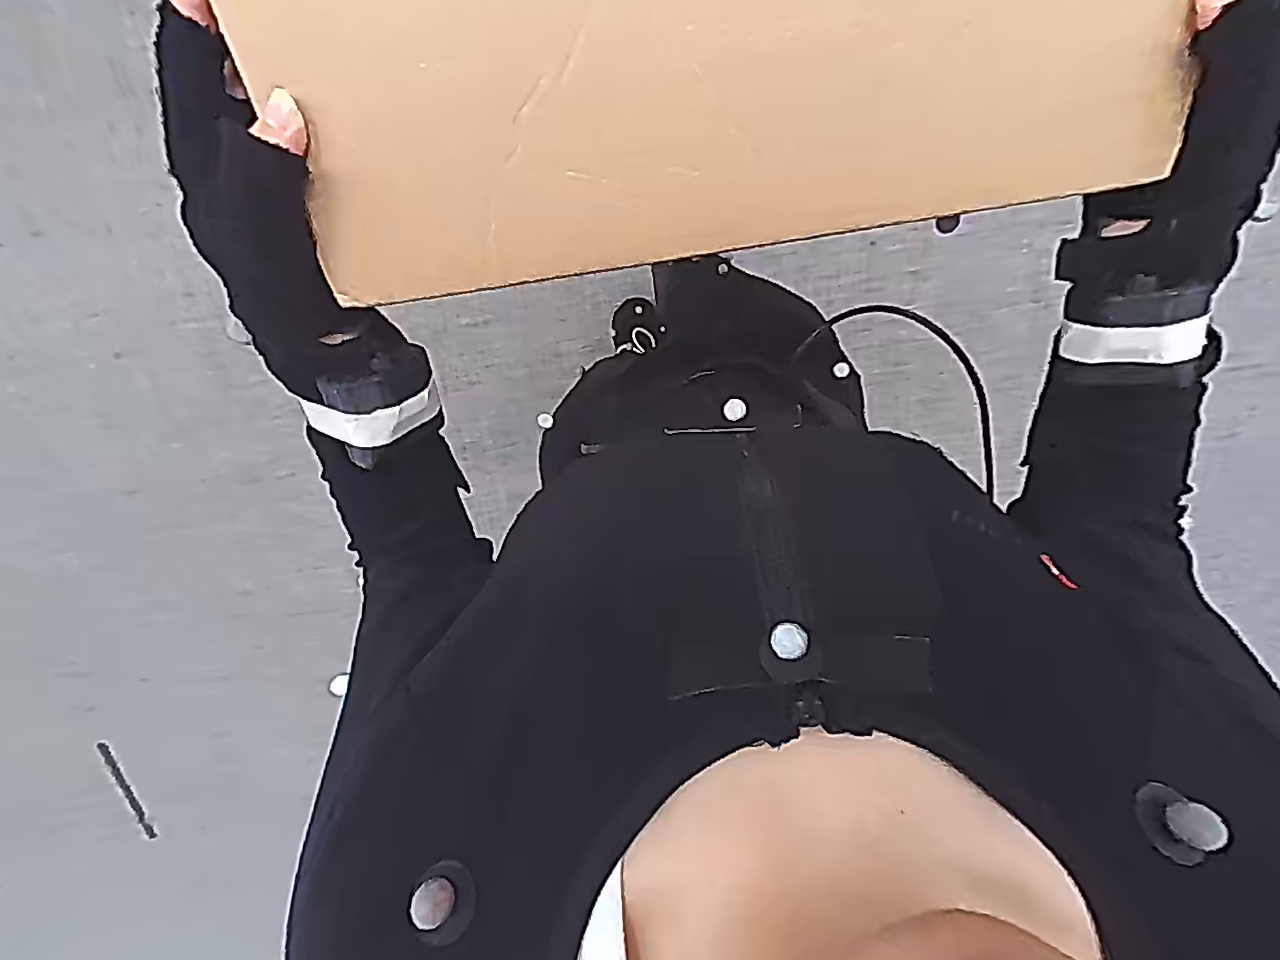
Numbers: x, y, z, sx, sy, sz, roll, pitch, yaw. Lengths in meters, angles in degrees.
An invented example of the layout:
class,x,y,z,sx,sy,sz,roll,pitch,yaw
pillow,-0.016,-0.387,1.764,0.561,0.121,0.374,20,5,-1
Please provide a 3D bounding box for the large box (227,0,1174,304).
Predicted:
class,x,y,z,sx,sy,sz,roll,pitch,yaw
large box,0.018,-0.327,0.326,0.408,0.320,0.320,-8,119,2
